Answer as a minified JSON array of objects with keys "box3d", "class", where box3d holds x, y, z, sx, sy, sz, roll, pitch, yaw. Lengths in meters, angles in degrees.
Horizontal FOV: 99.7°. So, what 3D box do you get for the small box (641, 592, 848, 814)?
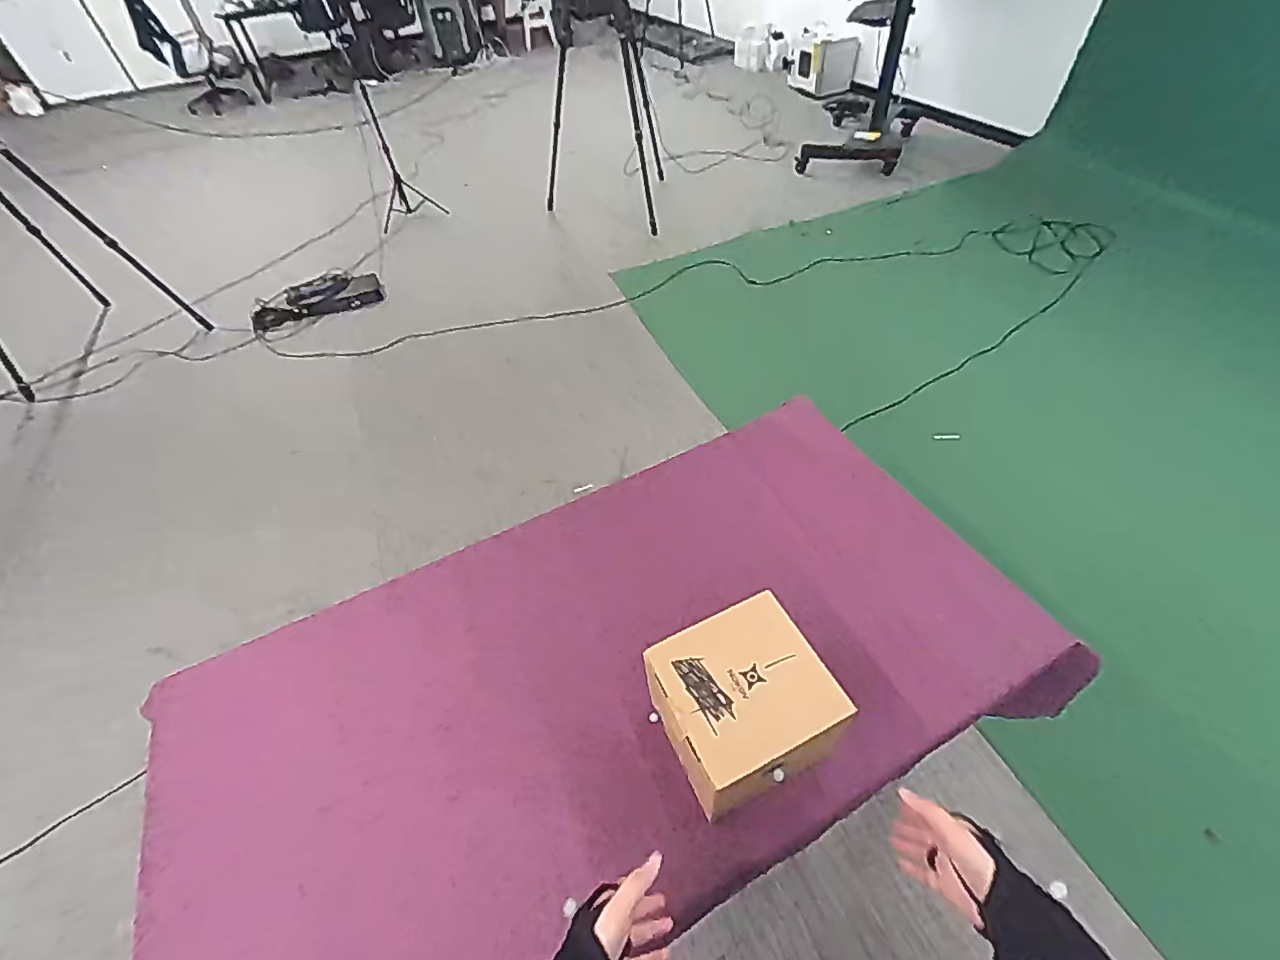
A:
[{"box3d":[0.118,0.275,0.660,0.179,0.176,0.168,-22,51,-14],"class":"small box"}]
